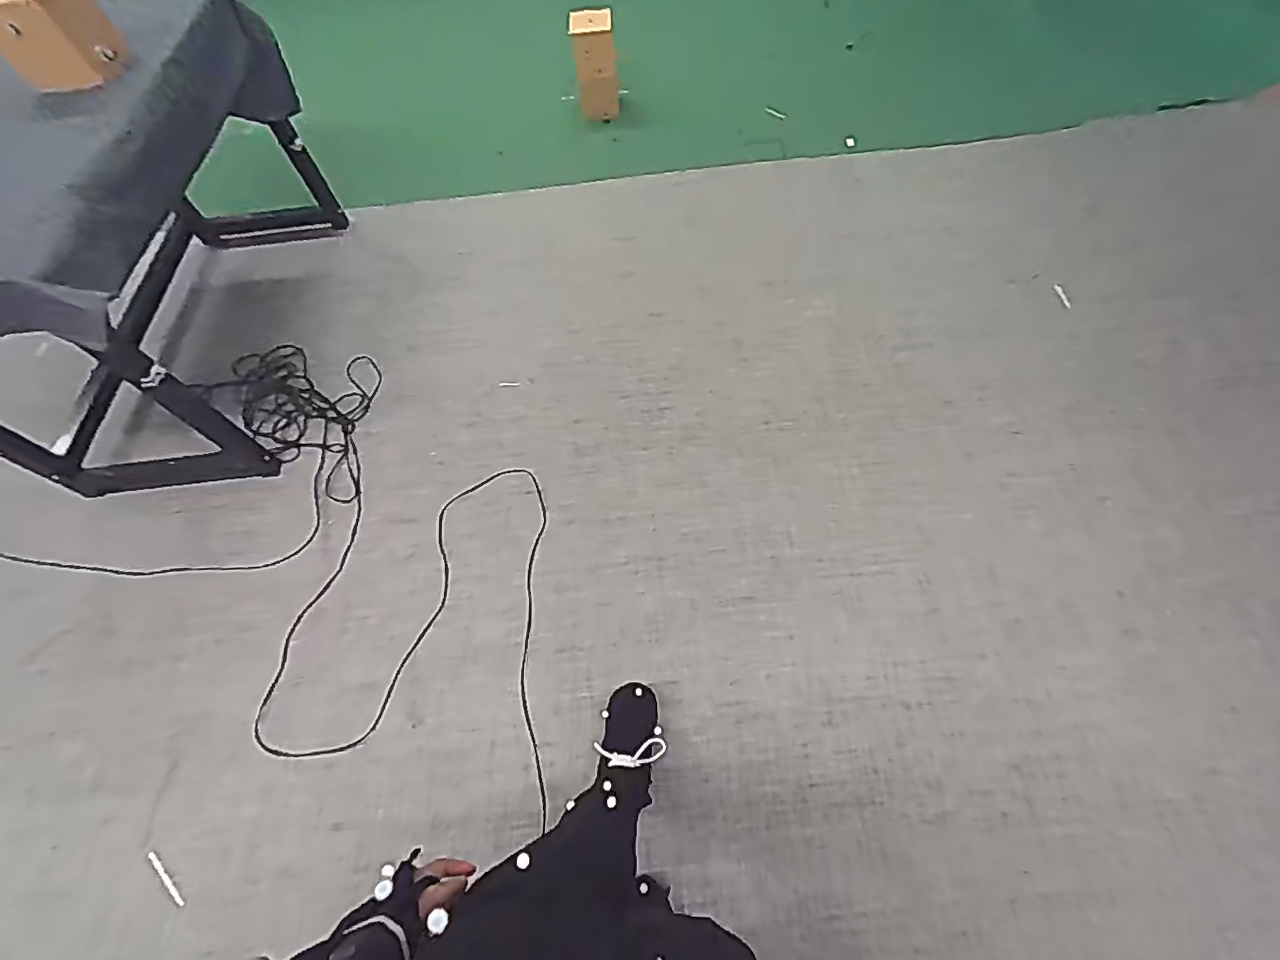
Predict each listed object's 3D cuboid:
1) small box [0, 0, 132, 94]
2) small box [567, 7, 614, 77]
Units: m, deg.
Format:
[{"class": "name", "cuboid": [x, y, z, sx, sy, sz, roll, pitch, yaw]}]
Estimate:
[{"class": "small box", "cuboid": [-1.335, -1.010, 1.227, 0.179, 0.176, 0.168, -5, 62, 1]}, {"class": "small box", "cuboid": [-0.199, -1.772, 2.197, 0.168, 0.176, 0.179, -5, 61, 2]}]
